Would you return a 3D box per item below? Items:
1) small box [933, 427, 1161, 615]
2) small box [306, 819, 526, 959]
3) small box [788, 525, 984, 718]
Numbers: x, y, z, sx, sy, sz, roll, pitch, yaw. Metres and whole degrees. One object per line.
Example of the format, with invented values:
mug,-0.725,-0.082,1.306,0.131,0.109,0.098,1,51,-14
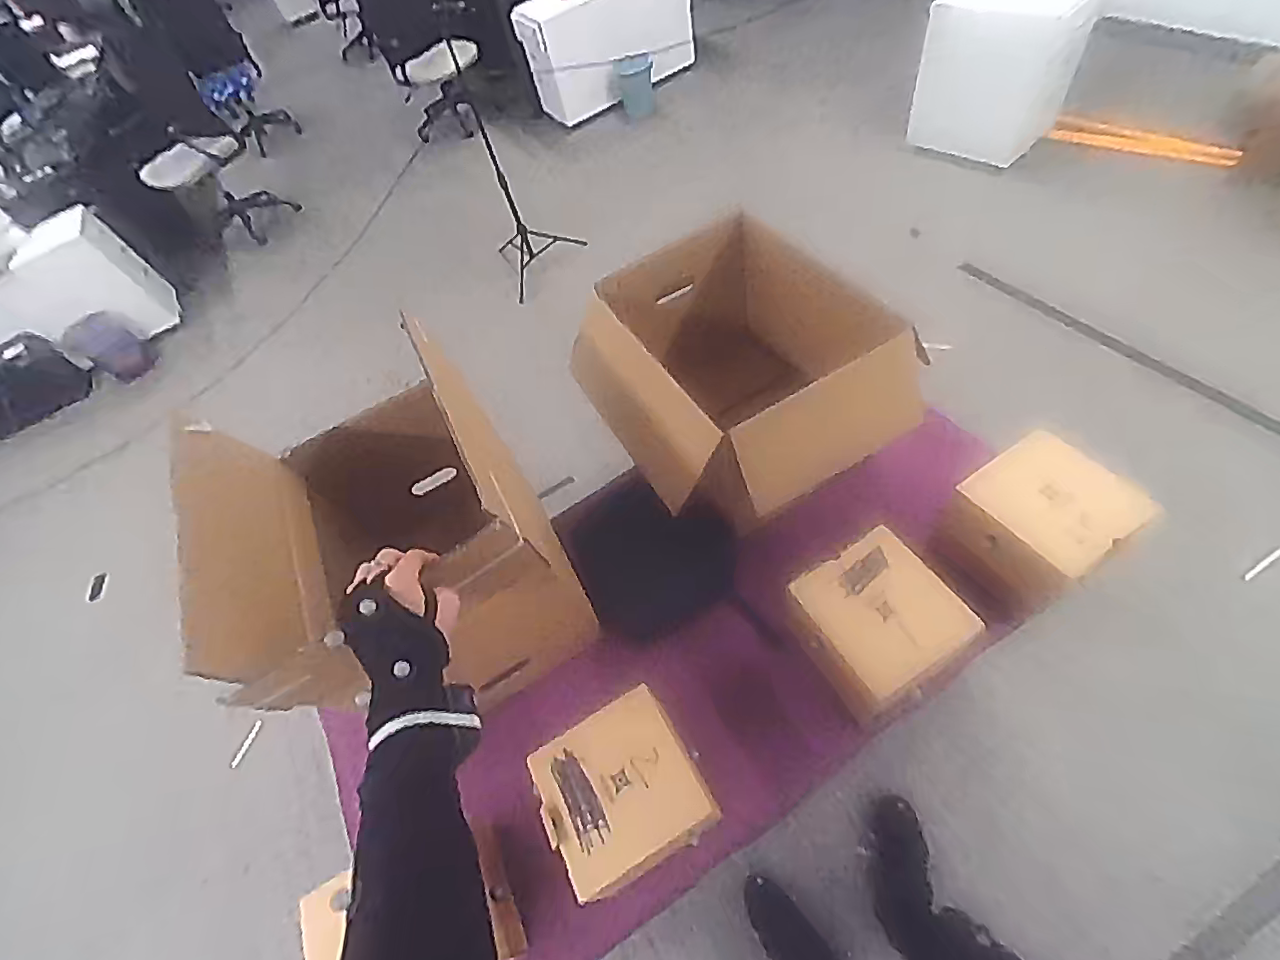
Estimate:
small box,0.563,0.063,0.782,0.168,0.176,0.179,-33,55,-7
small box,-0.269,0.556,0.670,0.179,0.176,0.168,-30,55,-8
small box,0.322,0.202,0.754,0.168,0.176,0.179,-31,56,-6
